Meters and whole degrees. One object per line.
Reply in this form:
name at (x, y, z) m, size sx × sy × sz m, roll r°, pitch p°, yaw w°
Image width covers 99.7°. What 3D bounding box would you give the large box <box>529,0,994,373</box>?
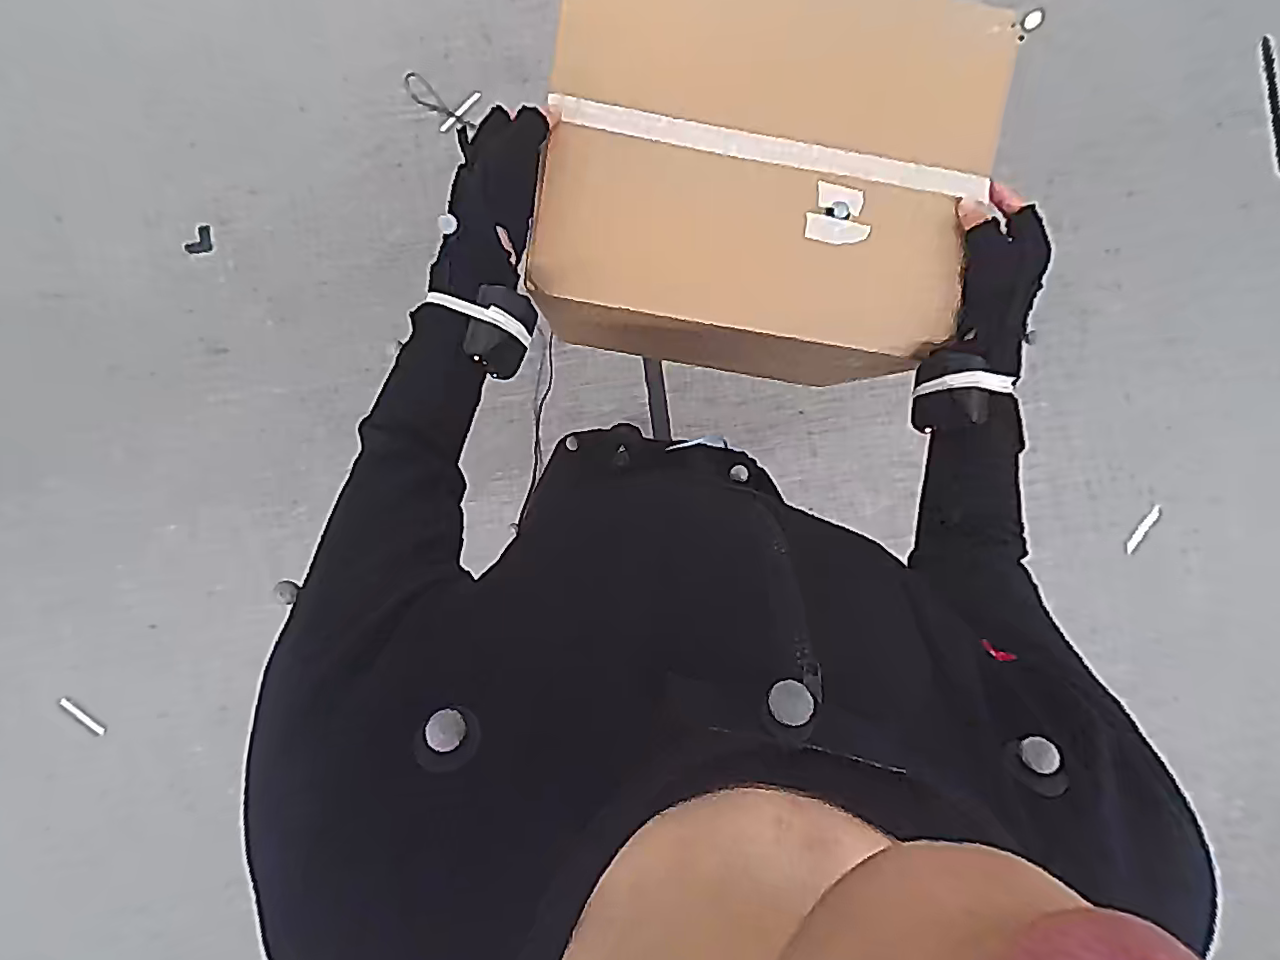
large box at (0.100, -0.319, 0.644) m, size 0.408 × 0.320 × 0.320 m, roll 8°, pitch 97°, yaw -5°
